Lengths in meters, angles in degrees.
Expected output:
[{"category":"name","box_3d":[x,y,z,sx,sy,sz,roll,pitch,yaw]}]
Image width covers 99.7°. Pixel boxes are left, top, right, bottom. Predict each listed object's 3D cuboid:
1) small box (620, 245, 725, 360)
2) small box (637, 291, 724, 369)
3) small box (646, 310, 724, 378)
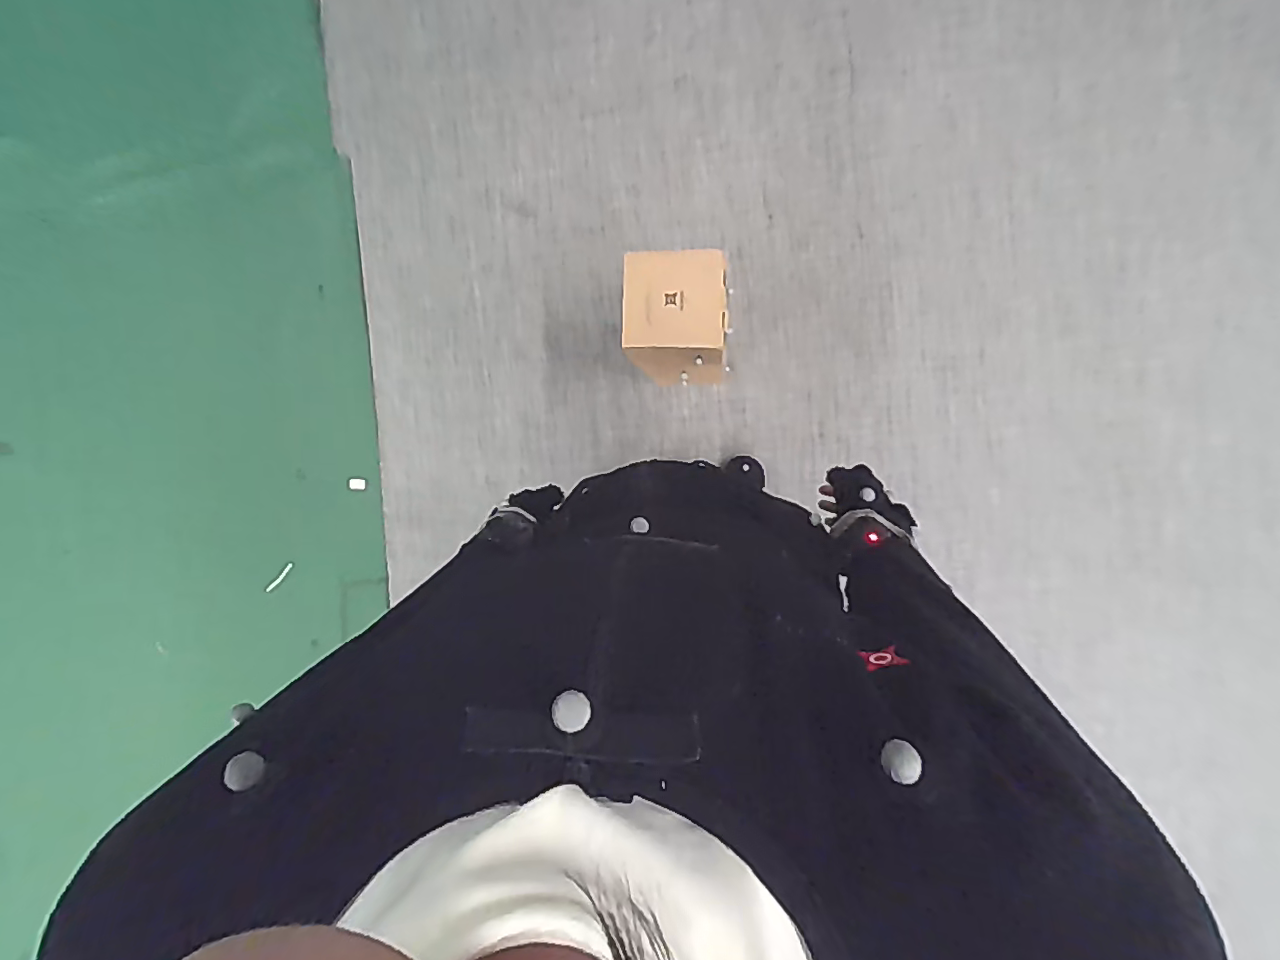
[{"category":"small box","box_3d":[0.065,-0.319,0.997,0.179,0.176,0.168,2,93,9]},{"category":"small box","box_3d":[0.090,-0.332,1.159,0.179,0.176,0.168,0,95,9]},{"category":"small box","box_3d":[0.114,-0.343,1.318,0.179,0.176,0.168,2,93,9]}]
